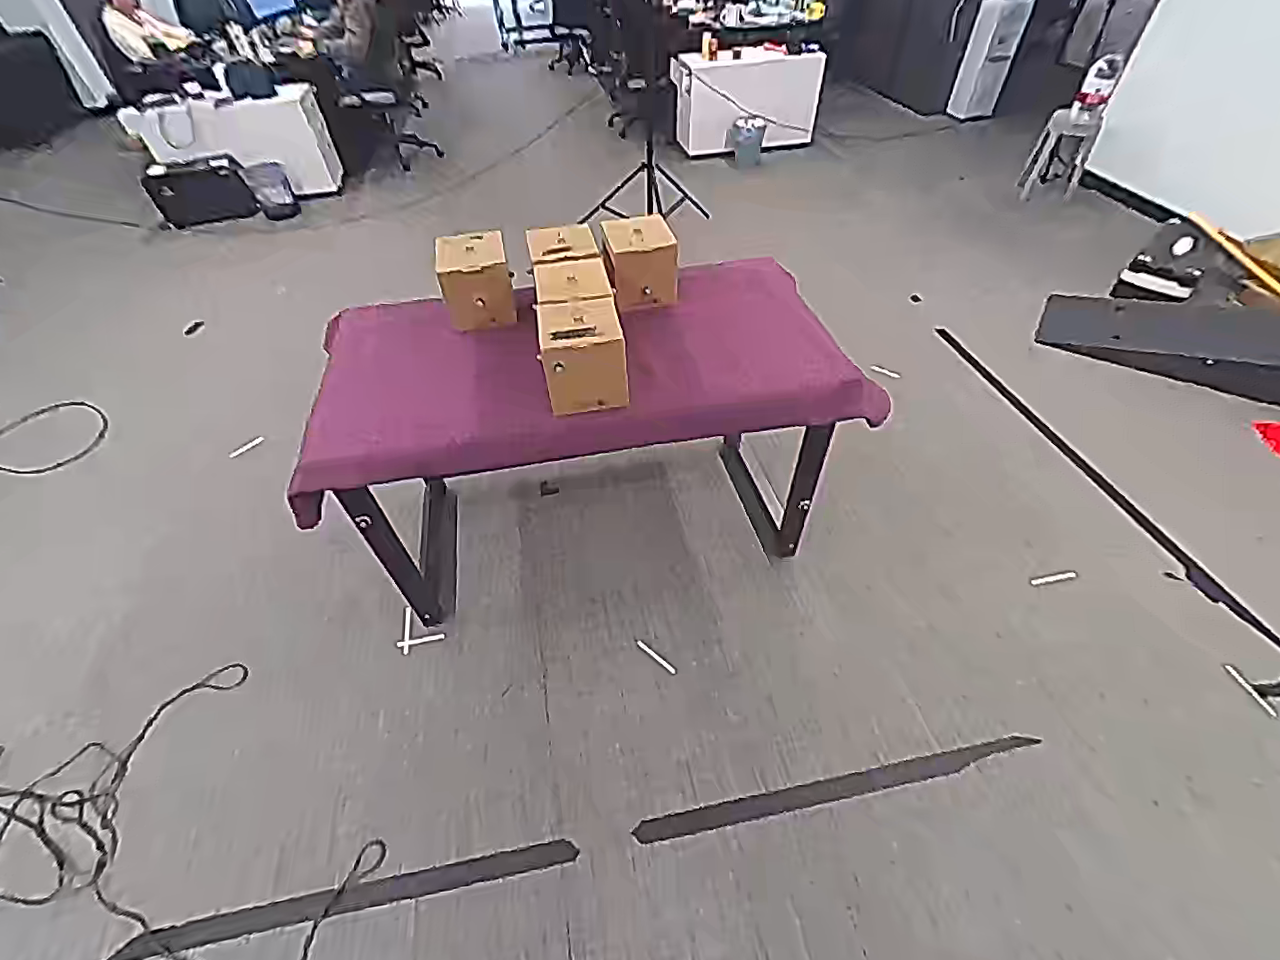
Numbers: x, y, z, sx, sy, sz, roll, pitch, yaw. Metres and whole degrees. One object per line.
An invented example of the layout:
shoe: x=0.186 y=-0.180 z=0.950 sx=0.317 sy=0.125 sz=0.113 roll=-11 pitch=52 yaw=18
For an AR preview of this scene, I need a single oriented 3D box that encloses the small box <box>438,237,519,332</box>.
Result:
small box: x=-0.412 y=-0.497 z=1.393 sx=0.168 sy=0.176 sz=0.179 roll=-11 pitch=51 yaw=-7
